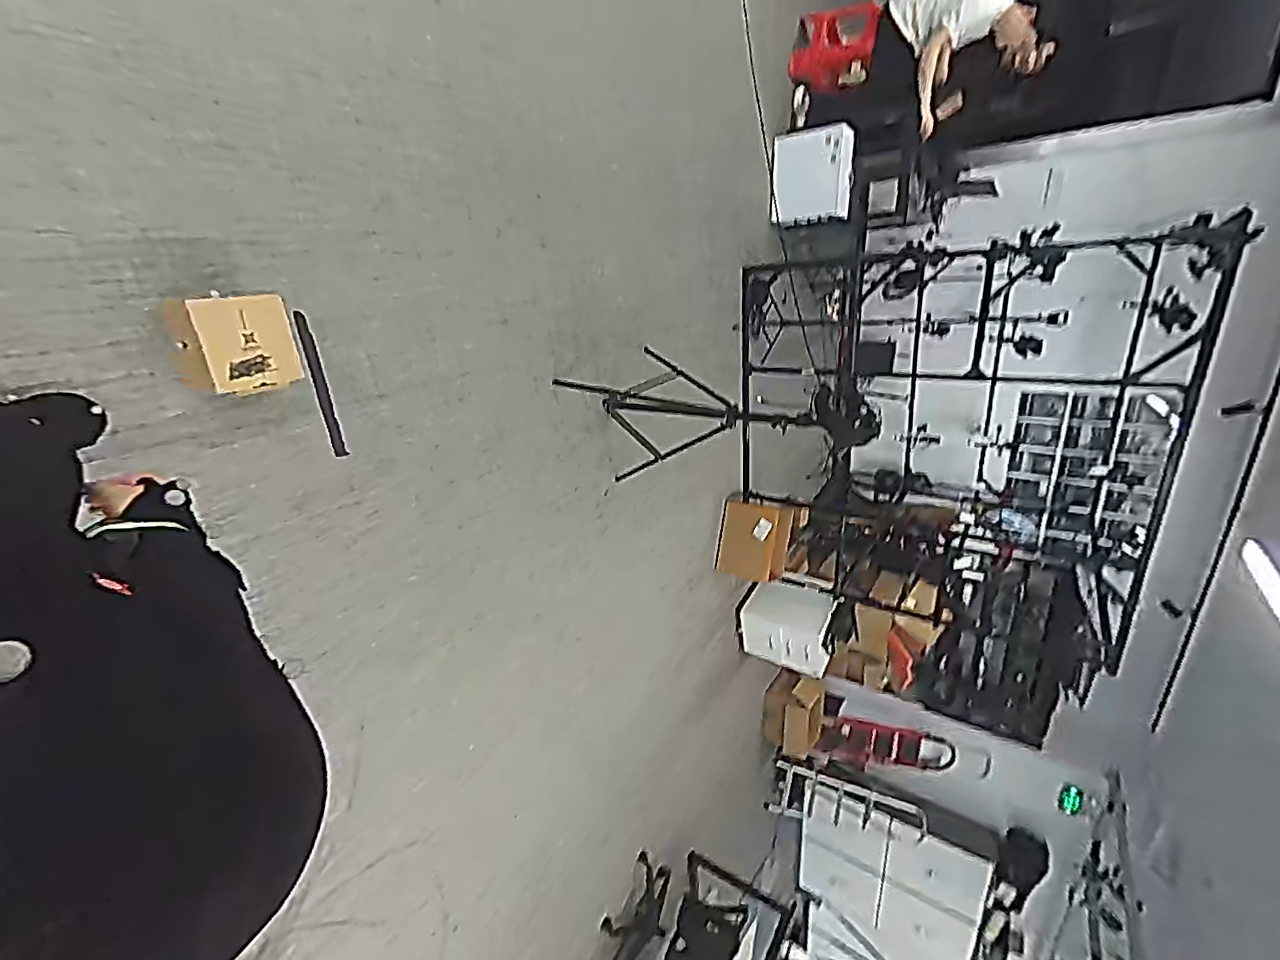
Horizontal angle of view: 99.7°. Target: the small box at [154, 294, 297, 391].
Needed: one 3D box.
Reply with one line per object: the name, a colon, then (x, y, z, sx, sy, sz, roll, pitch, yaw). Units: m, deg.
small box: (-0.850, -0.286, 1.112, 0.168, 0.176, 0.179, -29, 121, -50)
